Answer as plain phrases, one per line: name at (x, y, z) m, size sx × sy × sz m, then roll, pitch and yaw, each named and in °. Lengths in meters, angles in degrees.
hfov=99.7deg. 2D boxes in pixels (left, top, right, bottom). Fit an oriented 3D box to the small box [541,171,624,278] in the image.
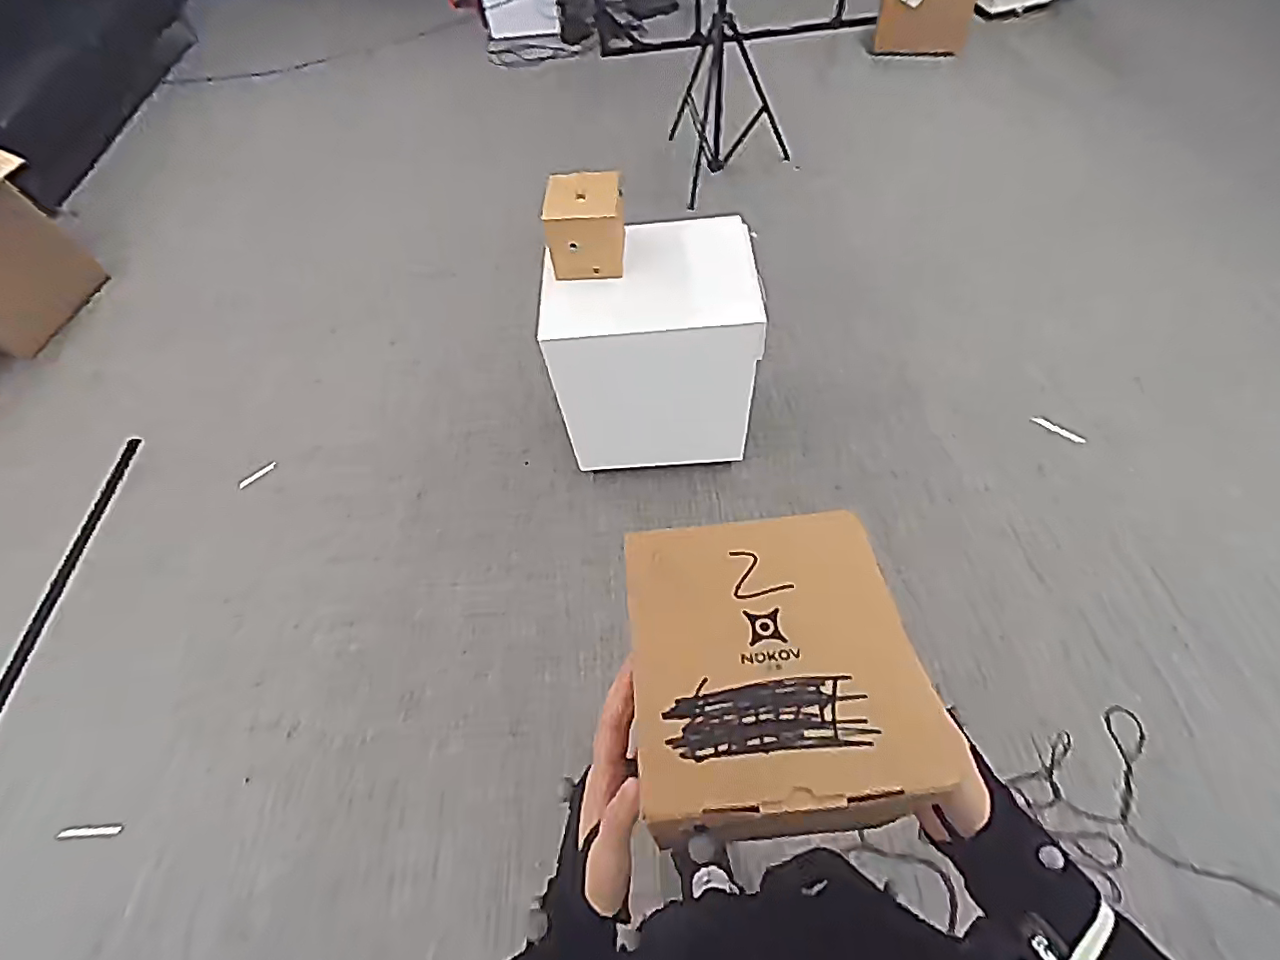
small box at (-0.129, -0.600, 1.288) m, size 0.168 × 0.176 × 0.179 m, roll -1°, pitch 59°, yaw 4°
